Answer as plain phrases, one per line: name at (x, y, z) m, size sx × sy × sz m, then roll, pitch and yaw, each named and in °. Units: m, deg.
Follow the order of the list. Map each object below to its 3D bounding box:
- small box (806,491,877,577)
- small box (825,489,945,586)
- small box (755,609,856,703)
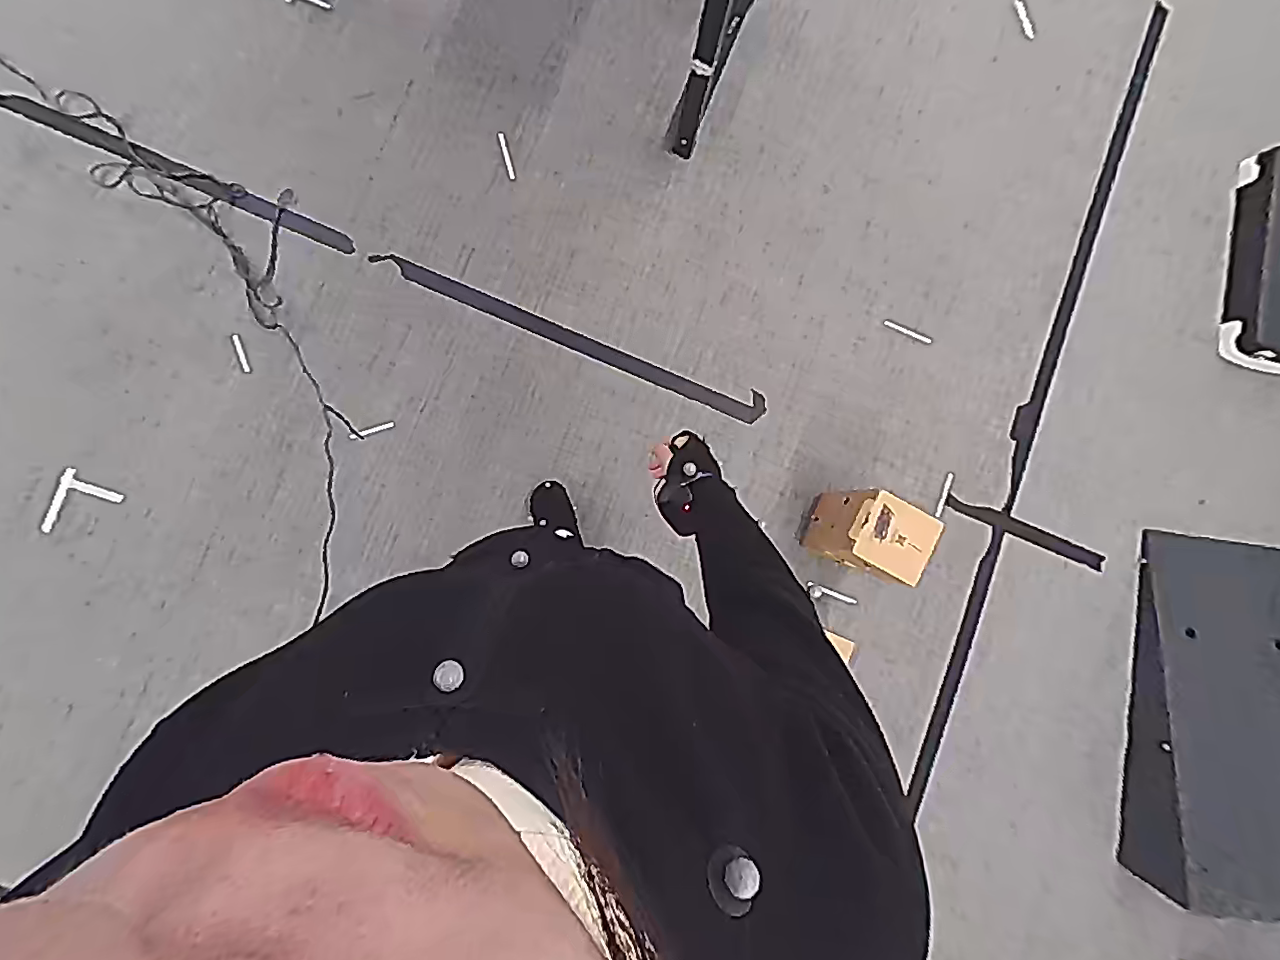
small box at (0.573, 0.142, 1.469) m, size 0.168 × 0.176 × 0.179 m, roll 24°, pitch 87°, yaw -3°
small box at (0.579, 0.136, 1.304) m, size 0.179 × 0.176 × 0.168 m, roll 29°, pitch 86°, yaw -4°
small box at (0.433, 0.460, 1.443) m, size 0.179 × 0.176 × 0.168 m, roll 24°, pitch 85°, yaw -3°
